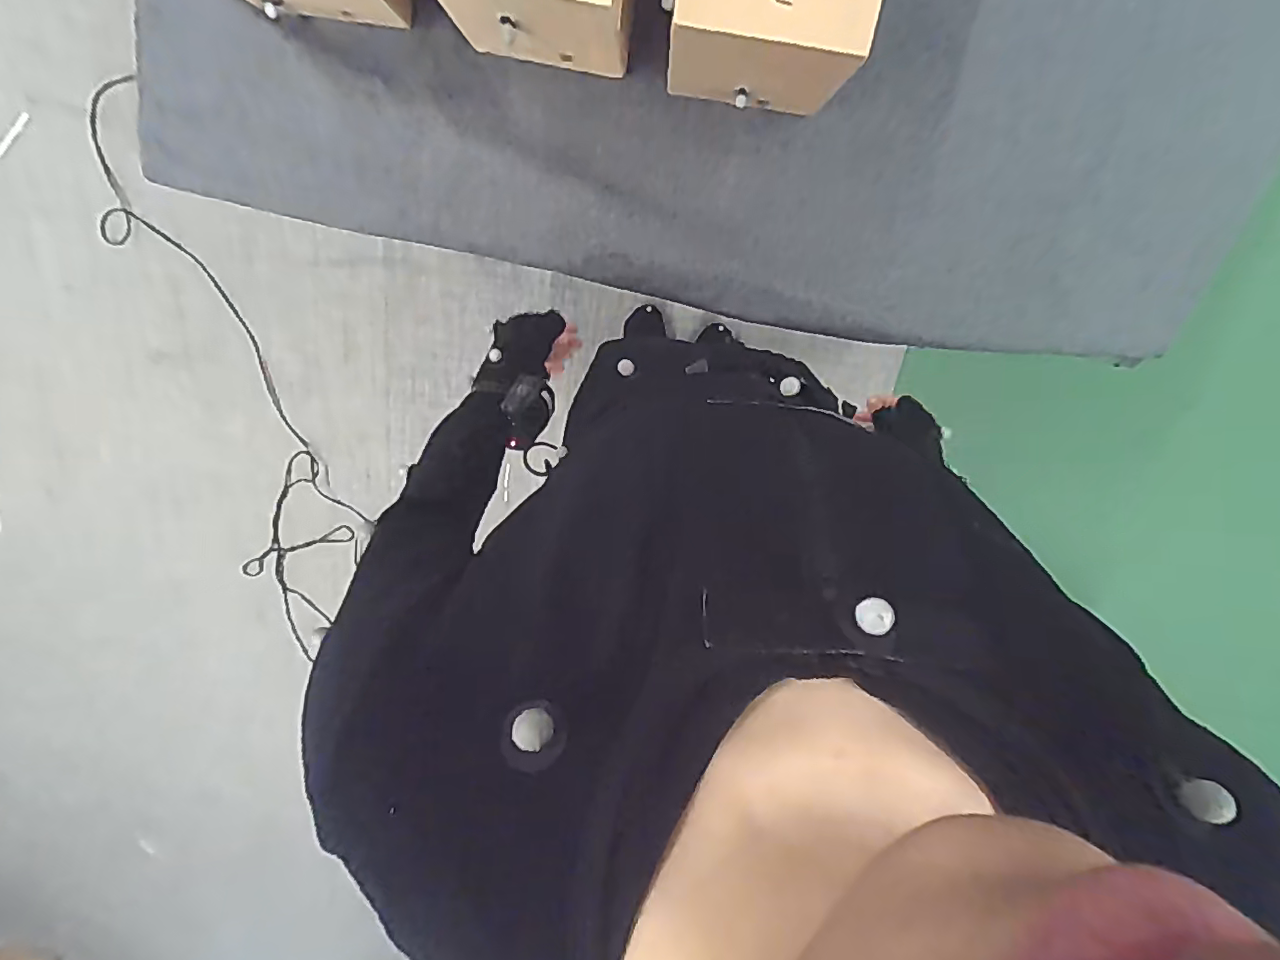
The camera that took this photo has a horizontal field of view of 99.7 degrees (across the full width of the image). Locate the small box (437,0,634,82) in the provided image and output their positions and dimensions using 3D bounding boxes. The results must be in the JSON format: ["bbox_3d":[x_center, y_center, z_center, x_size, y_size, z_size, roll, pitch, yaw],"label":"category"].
[{"bbox_3d":[-0.086,-0.496,0.484,0.168,0.176,0.179,10,108,-2],"label":"small box"}]

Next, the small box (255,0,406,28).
[{"bbox_3d":[-0.318,-0.541,0.472,0.168,0.176,0.179,7,108,-1],"label":"small box"}]
